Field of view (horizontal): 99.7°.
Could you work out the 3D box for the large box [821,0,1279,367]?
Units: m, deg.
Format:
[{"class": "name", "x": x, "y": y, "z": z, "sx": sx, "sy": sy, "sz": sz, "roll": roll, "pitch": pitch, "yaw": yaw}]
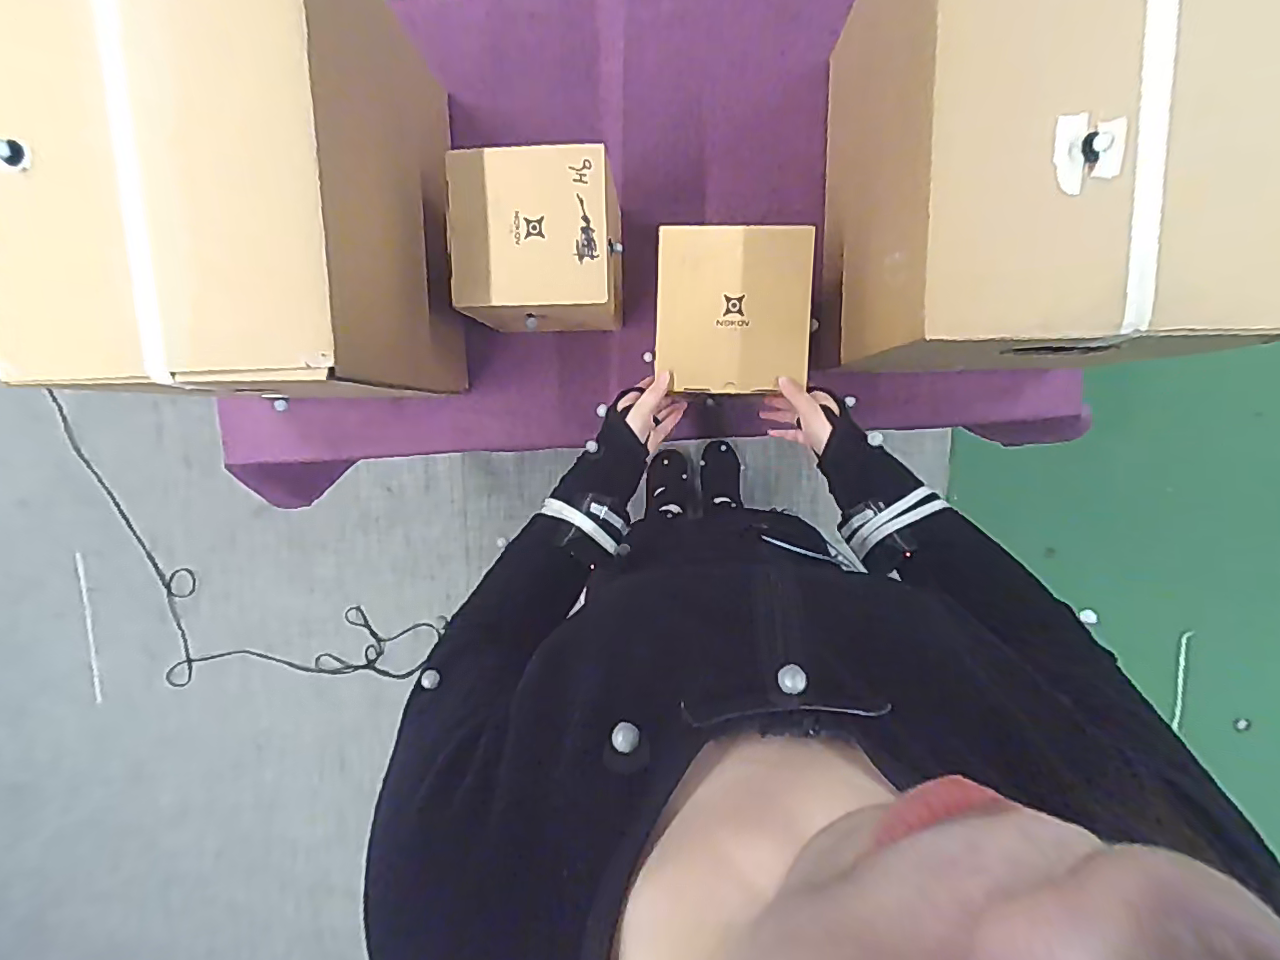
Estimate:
[{"class": "large box", "x": 0.390, "y": -0.334, "z": 0.566, "sx": 0.320, "sy": 0.320, "sz": 0.408, "roll": 0, "pitch": 97, "yaw": 3}]
